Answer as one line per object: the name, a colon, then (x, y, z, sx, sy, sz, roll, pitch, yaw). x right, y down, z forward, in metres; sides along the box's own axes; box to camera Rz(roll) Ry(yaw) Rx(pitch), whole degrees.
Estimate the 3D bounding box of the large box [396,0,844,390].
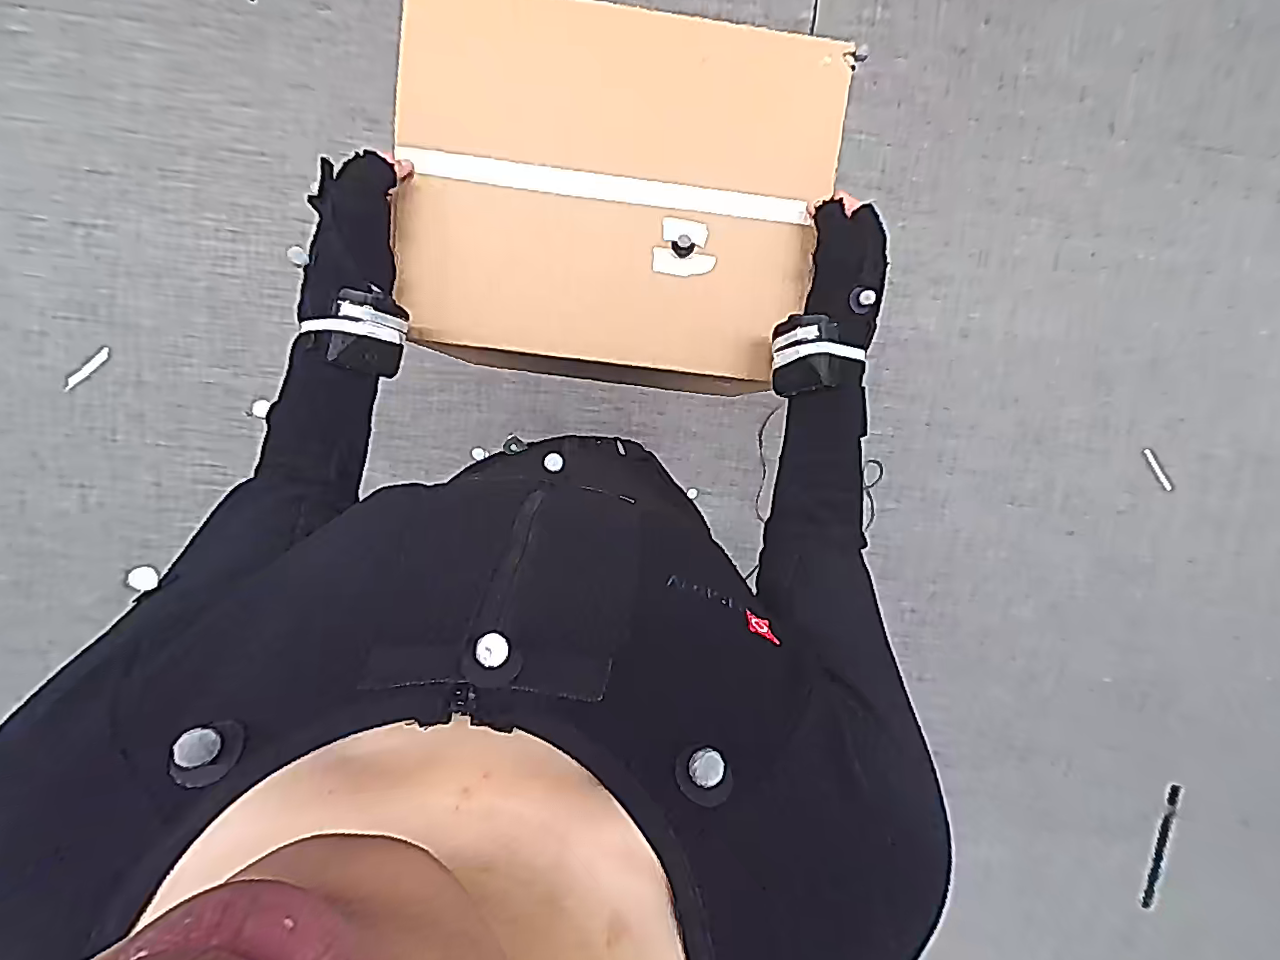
large box: (-0.030, -0.289, 0.653, 0.408, 0.320, 0.320, 6, 97, -4)
